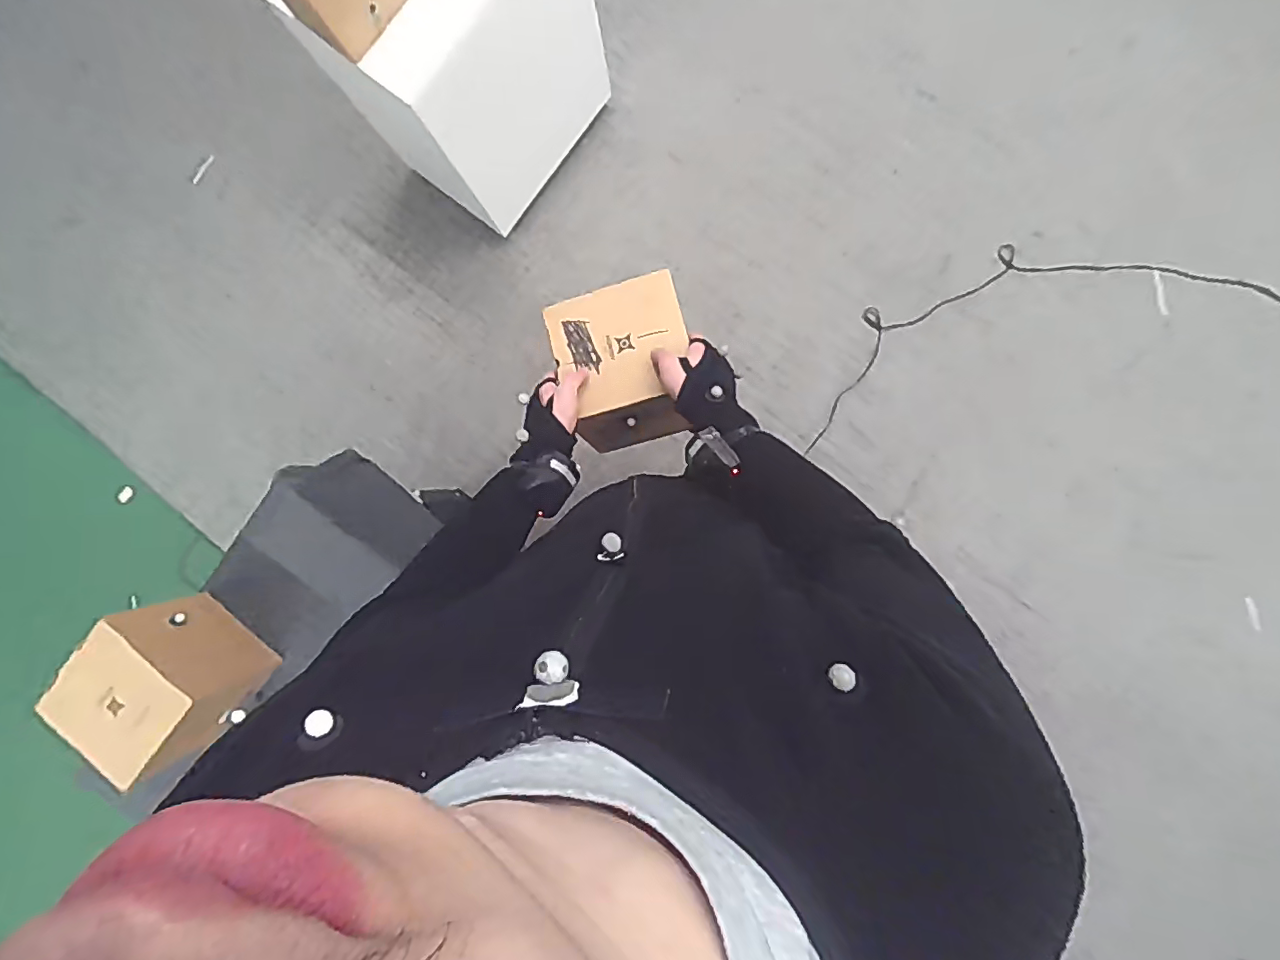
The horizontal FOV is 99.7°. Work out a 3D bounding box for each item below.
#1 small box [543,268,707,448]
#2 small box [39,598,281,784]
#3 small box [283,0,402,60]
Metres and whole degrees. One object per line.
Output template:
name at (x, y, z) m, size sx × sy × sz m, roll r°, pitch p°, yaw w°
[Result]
small box at (-0.013, -0.155, 0.751) m, size 0.179 × 0.176 × 0.168 m, roll -14°, pitch 77°, yaw 7°
small box at (-0.702, 0.296, 0.811) m, size 0.179 × 0.176 × 0.168 m, roll 39°, pitch 94°, yaw 3°
small box at (-0.544, -0.895, 0.931) m, size 0.168 × 0.176 × 0.179 m, roll 39°, pitch 91°, yaw 4°
